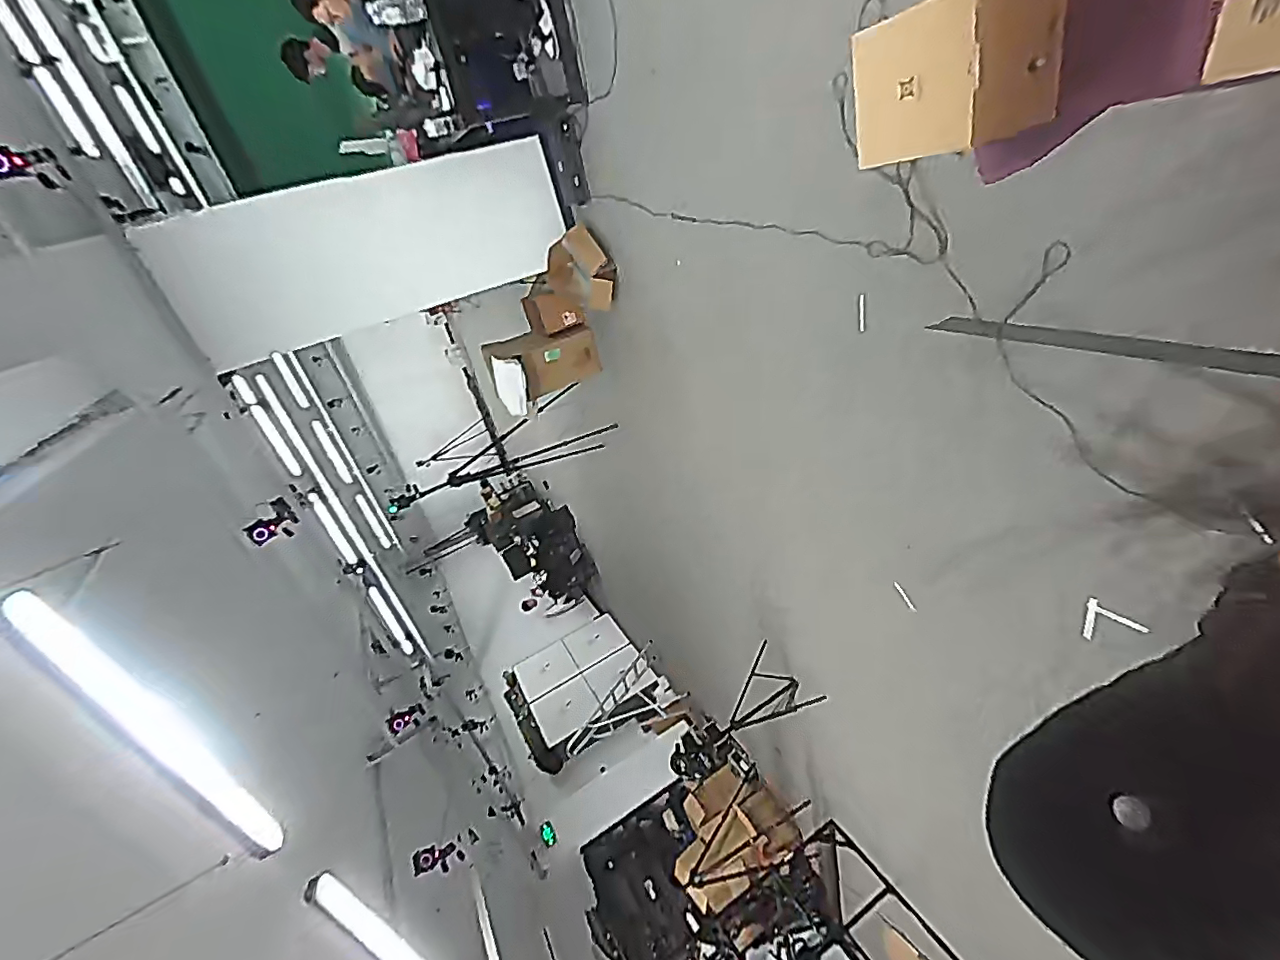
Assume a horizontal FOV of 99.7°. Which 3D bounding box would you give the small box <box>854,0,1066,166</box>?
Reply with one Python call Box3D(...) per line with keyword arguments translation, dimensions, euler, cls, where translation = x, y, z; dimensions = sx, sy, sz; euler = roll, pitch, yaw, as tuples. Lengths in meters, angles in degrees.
Box3D(translation=(0.413, -0.536, 0.716), dimensions=(0.179, 0.176, 0.168), euler=(32, 144, 55), cls="small box")
